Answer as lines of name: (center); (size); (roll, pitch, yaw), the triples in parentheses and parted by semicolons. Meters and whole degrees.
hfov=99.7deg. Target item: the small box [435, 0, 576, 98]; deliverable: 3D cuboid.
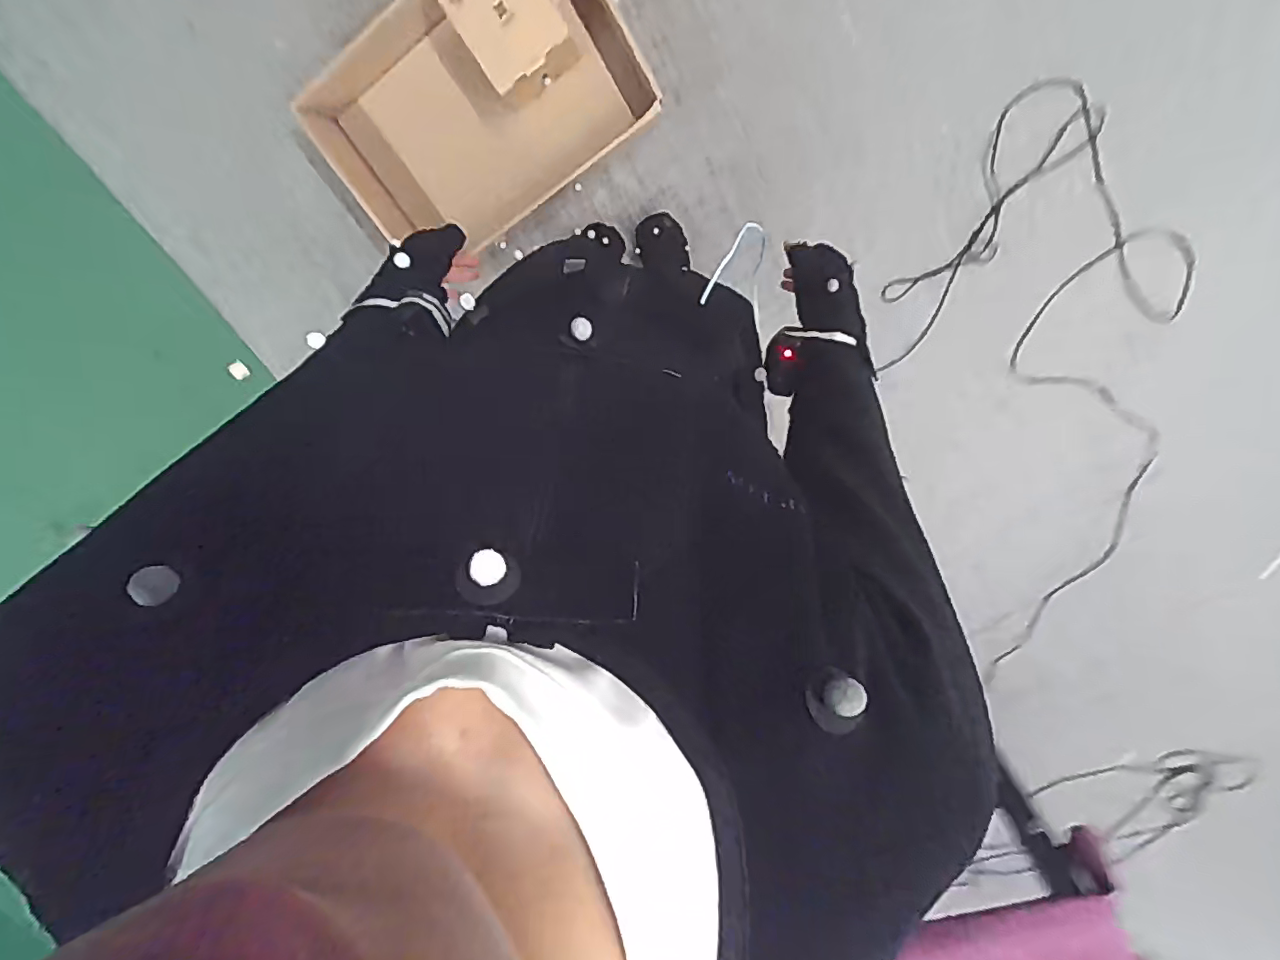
small box: (-0.239, -0.850, 1.005); (0.168, 0.176, 0.179); (-33, 111, 18)
